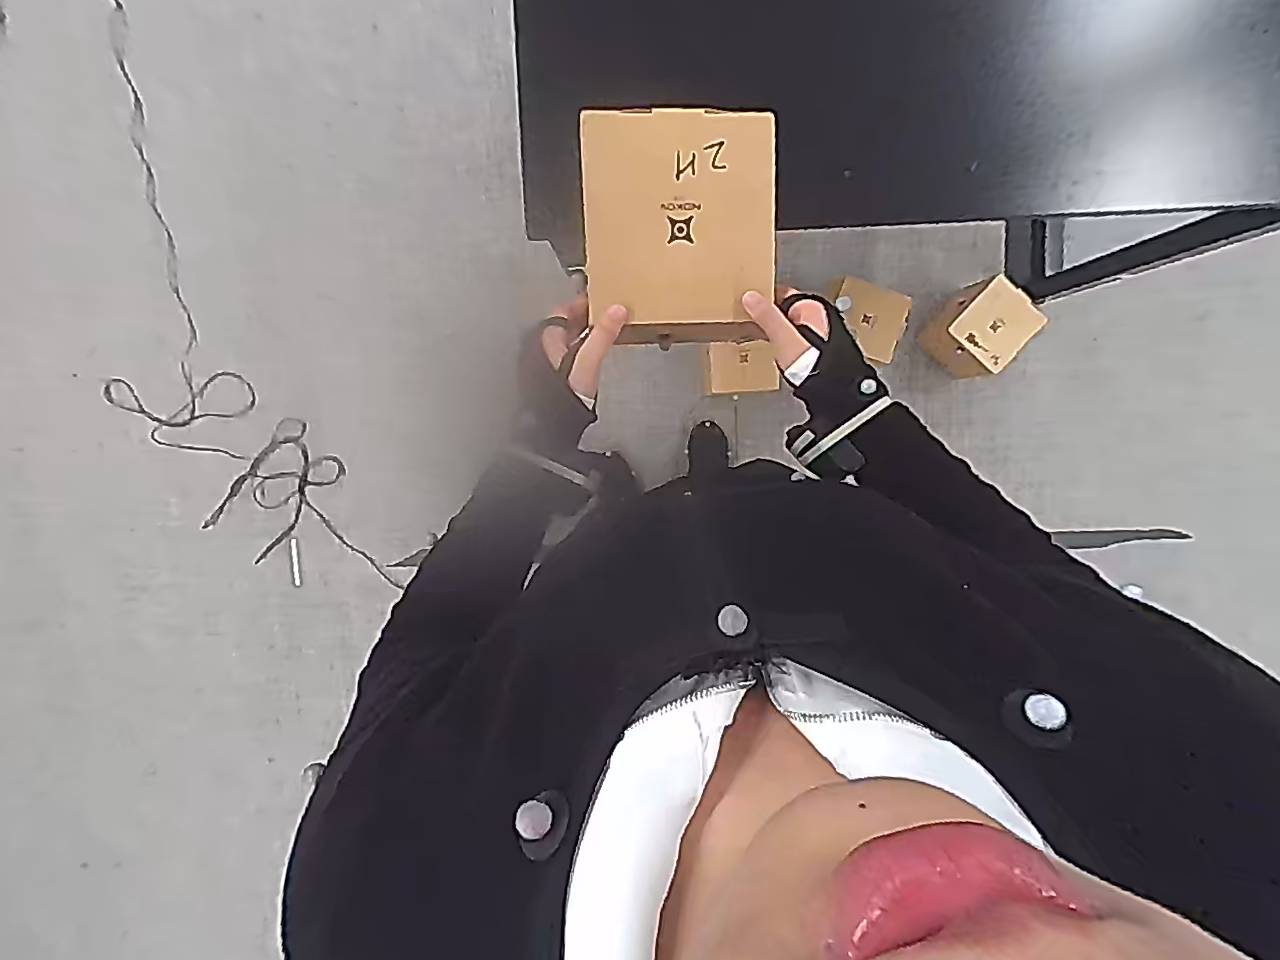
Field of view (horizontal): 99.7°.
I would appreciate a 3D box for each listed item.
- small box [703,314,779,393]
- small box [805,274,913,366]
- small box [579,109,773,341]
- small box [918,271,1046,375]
[{"bbox_3d":[0.253,-0.317,1.380,0.168,0.176,0.179,-3,98,2],"label":"small box"},{"bbox_3d":[0.543,-0.395,1.366,0.179,0.176,0.168,19,96,0],"label":"small box"},{"bbox_3d":[0.027,-0.235,0.543,0.168,0.176,0.179,-3,98,-5],"label":"small box"},{"bbox_3d":[0.846,-0.384,1.358,0.168,0.176,0.179,41,96,-3],"label":"small box"}]
